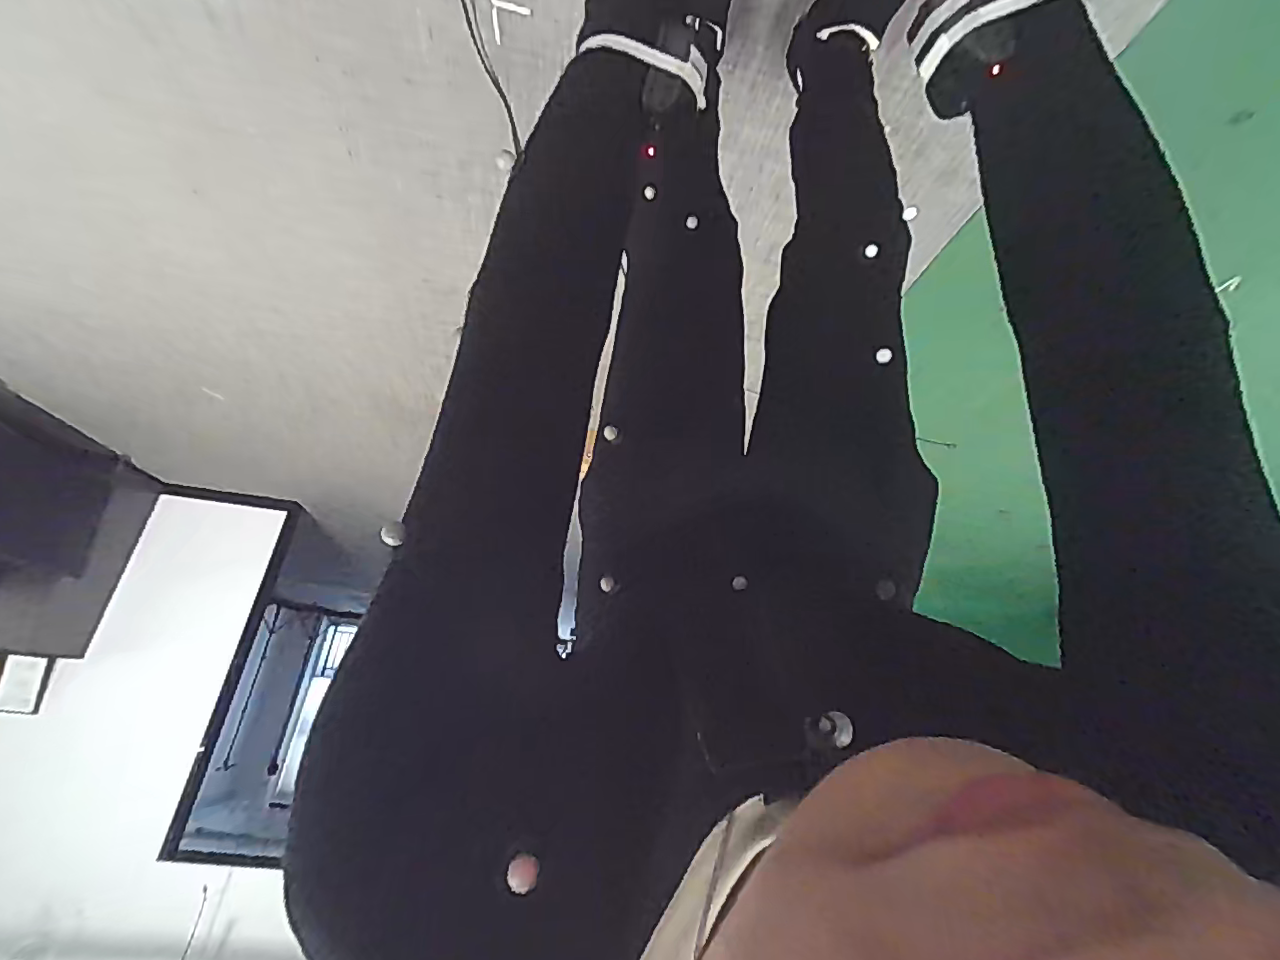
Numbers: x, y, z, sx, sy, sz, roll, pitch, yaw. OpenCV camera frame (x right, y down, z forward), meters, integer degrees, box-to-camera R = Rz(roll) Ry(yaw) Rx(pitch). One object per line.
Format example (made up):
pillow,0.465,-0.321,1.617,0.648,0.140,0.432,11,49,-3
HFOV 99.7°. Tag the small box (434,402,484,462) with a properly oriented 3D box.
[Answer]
small box,-0.730,-0.186,2.168,0.168,0.176,0.179,12,155,-19

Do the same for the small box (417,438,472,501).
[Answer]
small box,-0.755,-0.040,2.106,0.168,0.176,0.179,13,155,-13
